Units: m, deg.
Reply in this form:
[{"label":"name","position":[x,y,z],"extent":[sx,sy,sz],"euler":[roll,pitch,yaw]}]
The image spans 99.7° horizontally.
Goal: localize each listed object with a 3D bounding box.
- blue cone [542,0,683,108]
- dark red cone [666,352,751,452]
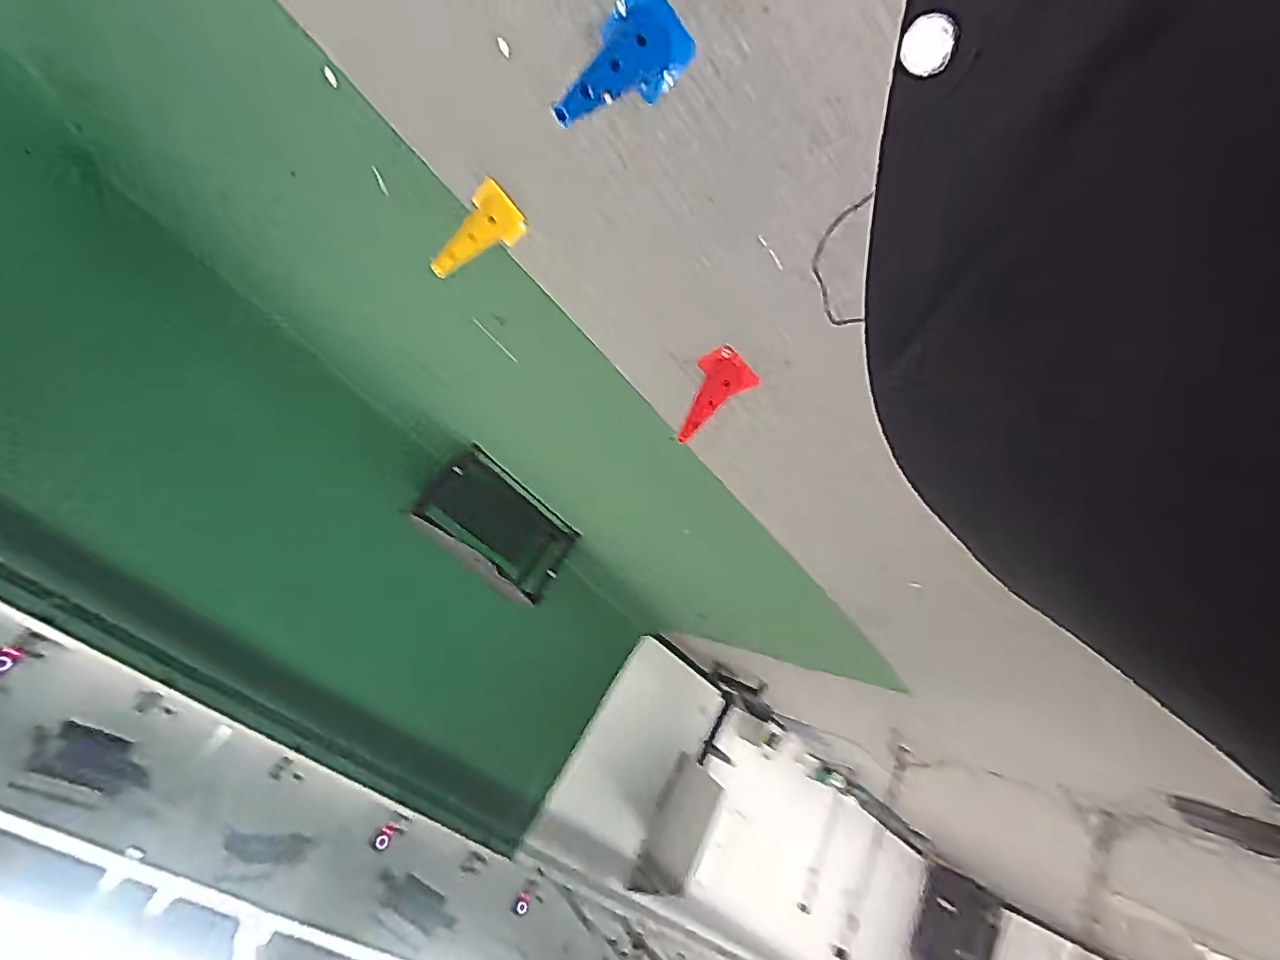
[{"label":"blue cone","position":[-0.084,-0.920,1.194],"extent":[0.192,0.380,0.193],"euler":[46,153,-23]},{"label":"dark red cone","position":[0.208,-0.259,1.941],"extent":[0.202,0.394,0.201],"euler":[42,158,-16]}]
